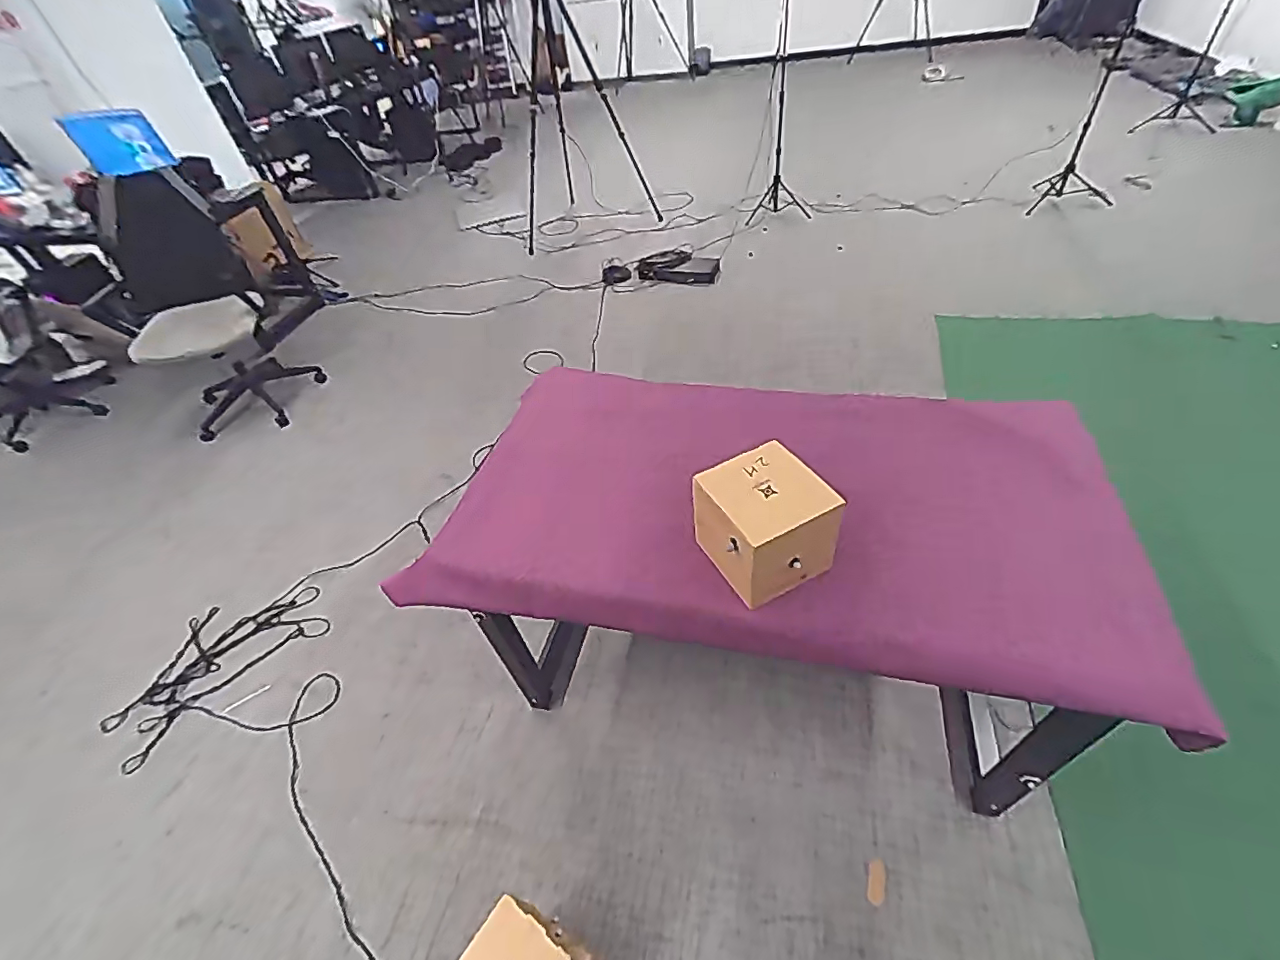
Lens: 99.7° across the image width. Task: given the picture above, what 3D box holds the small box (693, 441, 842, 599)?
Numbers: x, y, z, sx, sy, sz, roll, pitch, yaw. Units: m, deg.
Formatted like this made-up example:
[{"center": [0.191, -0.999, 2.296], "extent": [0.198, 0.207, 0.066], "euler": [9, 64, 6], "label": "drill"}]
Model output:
[{"center": [0.203, 0.072, 0.896], "extent": [0.168, 0.176, 0.179], "euler": [-23, 46, -15], "label": "small box"}]

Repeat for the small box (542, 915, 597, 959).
[{"center": [-0.195, 0.999, 1.072], "extent": [0.168, 0.176, 0.179], "euler": [18, 51, 25], "label": "small box"}]

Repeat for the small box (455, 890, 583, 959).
[{"center": [-0.222, 0.887, 0.959], "extent": [0.168, 0.176, 0.179], "euler": [22, 52, 29], "label": "small box"}]
